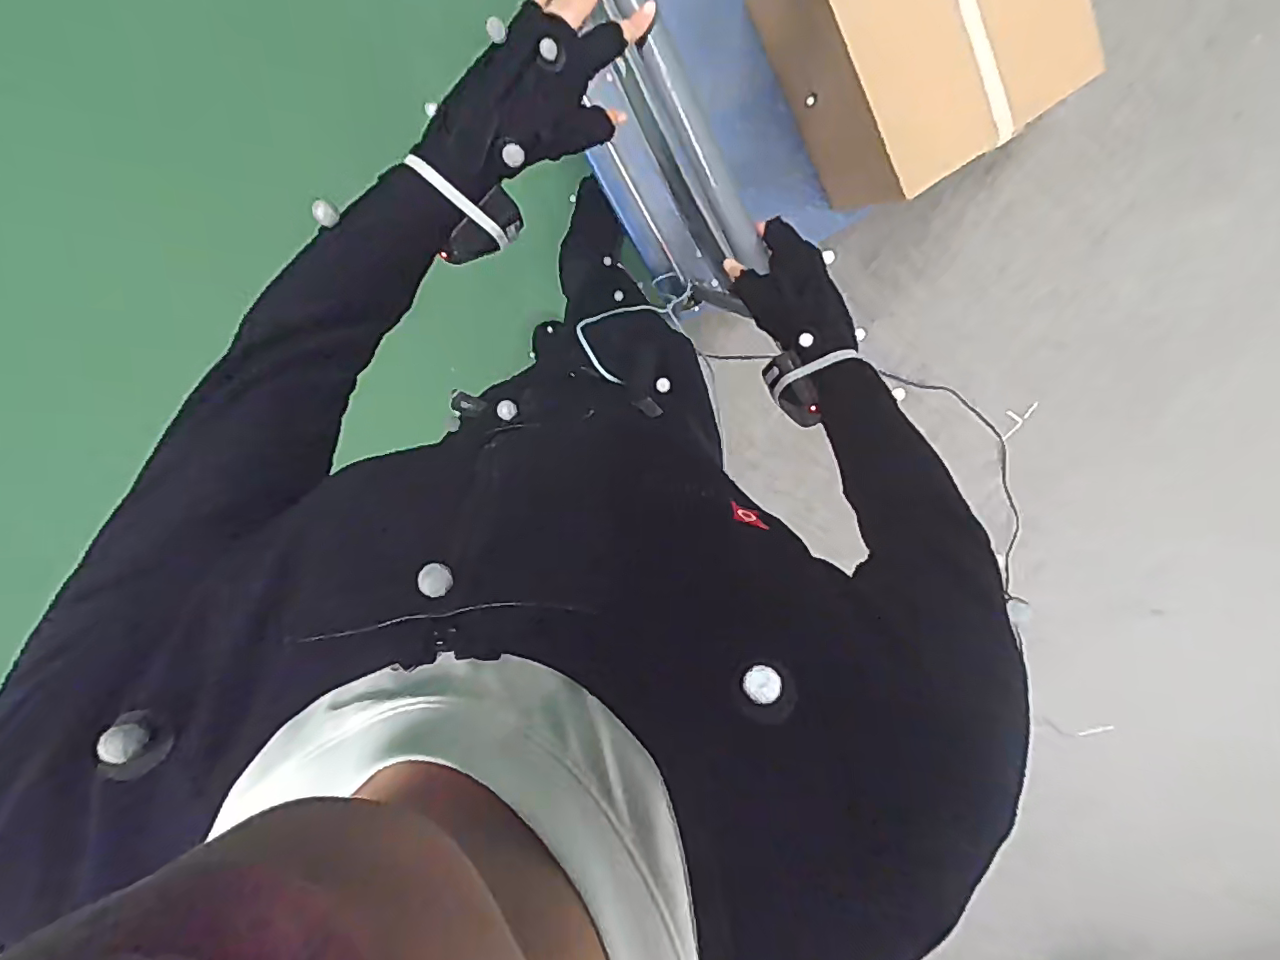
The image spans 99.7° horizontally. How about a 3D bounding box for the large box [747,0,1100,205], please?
[{"bbox_3d":[0.423,-0.723,0.871,0.320,0.320,0.408,-31,111,11],"label":"large box"}]
